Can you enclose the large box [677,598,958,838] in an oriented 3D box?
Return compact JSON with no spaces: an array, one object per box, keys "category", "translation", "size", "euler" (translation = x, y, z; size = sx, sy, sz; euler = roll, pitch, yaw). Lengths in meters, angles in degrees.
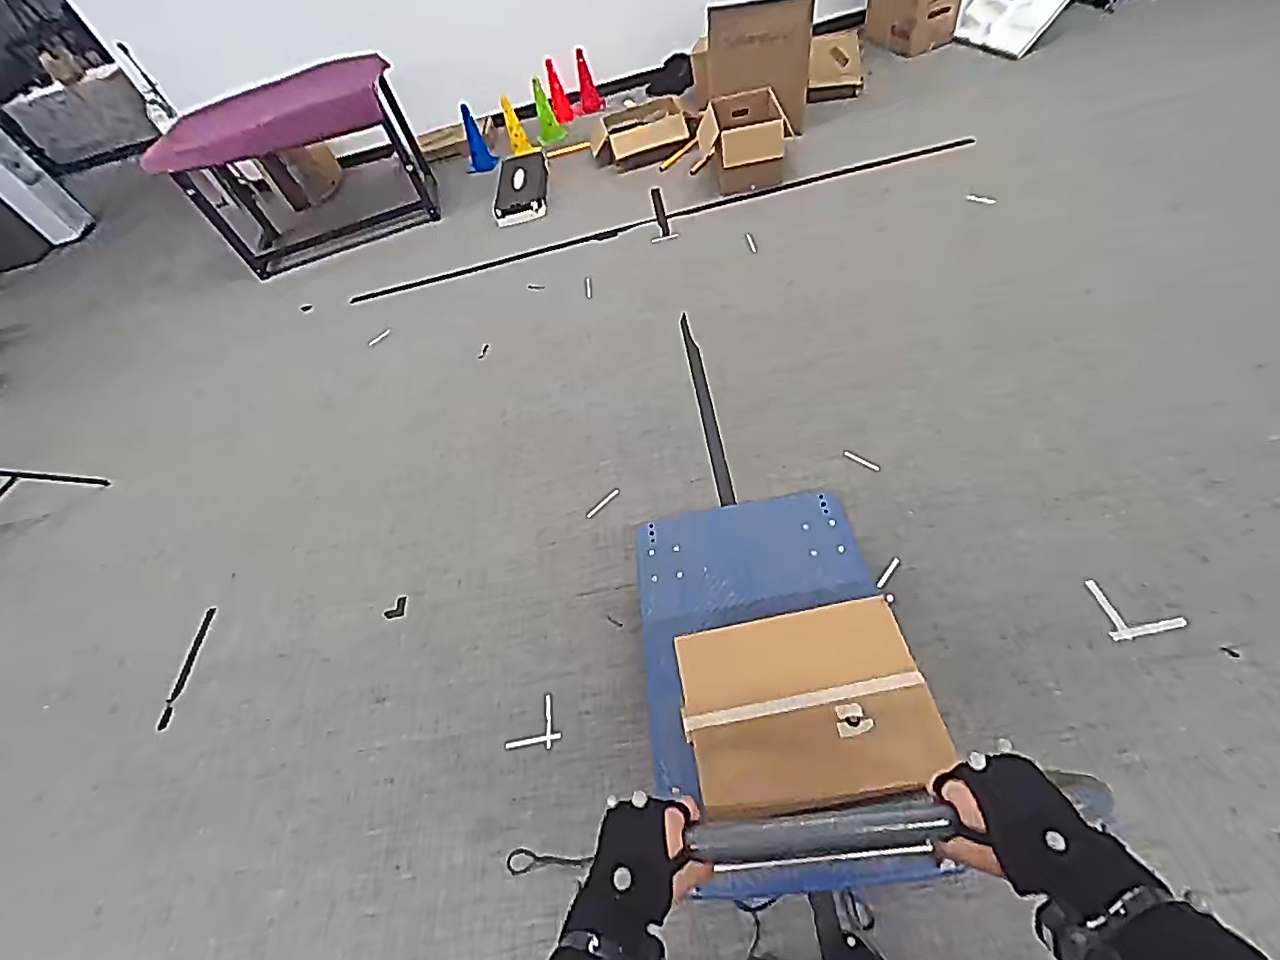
[{"category":"large box","translation":[0.309,0.474,1.058],"size":[0.408,0.320,0.320],"euler":[-13,53,3]}]
